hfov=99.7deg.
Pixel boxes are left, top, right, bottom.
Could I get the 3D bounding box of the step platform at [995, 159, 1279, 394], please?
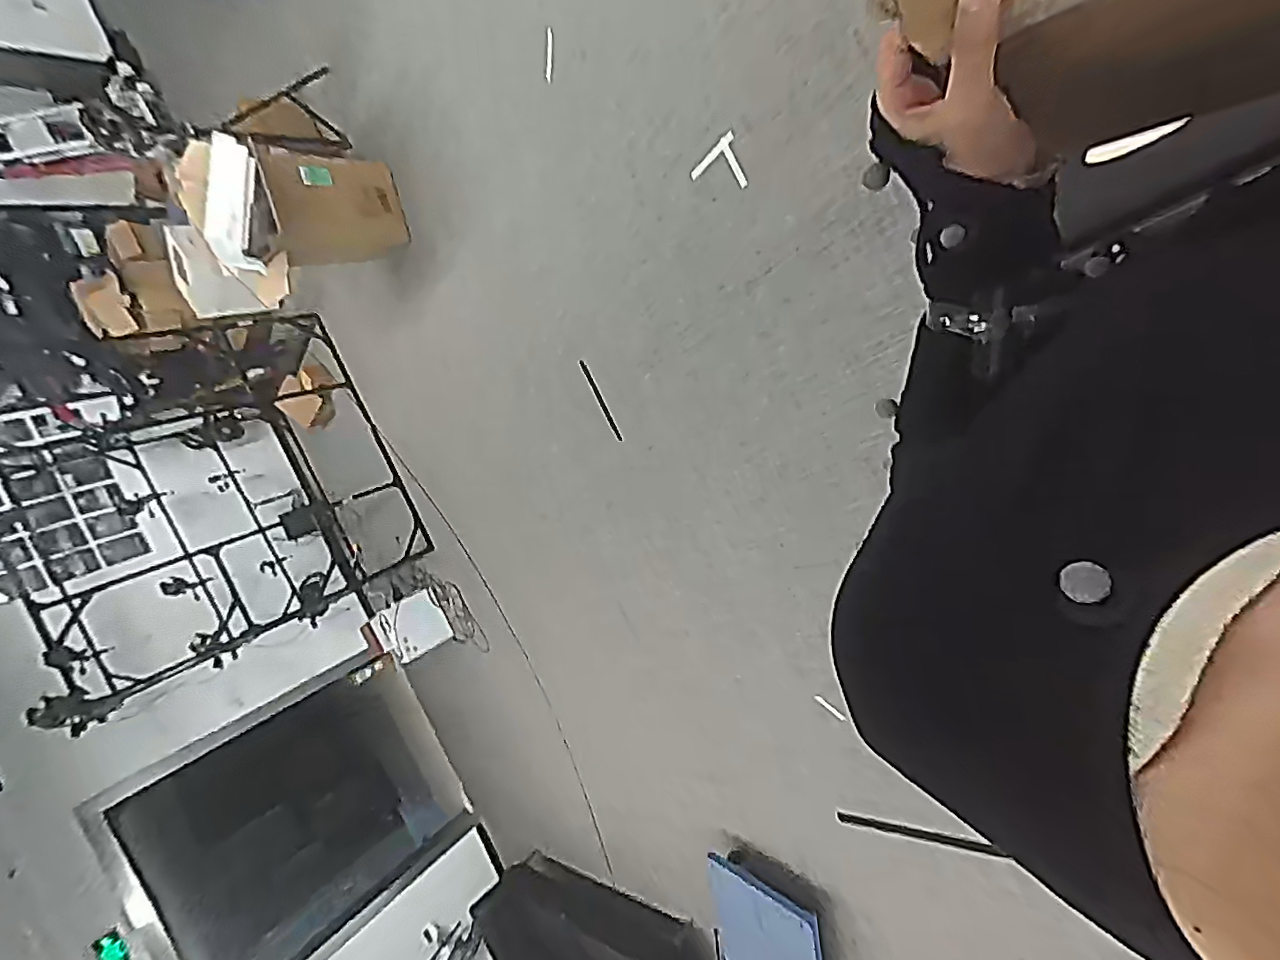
[{"bbox_3d":[1.040,-0.380,0.956,0.684,0.204,0.286,-14,100,48],"label":"step platform"}]
